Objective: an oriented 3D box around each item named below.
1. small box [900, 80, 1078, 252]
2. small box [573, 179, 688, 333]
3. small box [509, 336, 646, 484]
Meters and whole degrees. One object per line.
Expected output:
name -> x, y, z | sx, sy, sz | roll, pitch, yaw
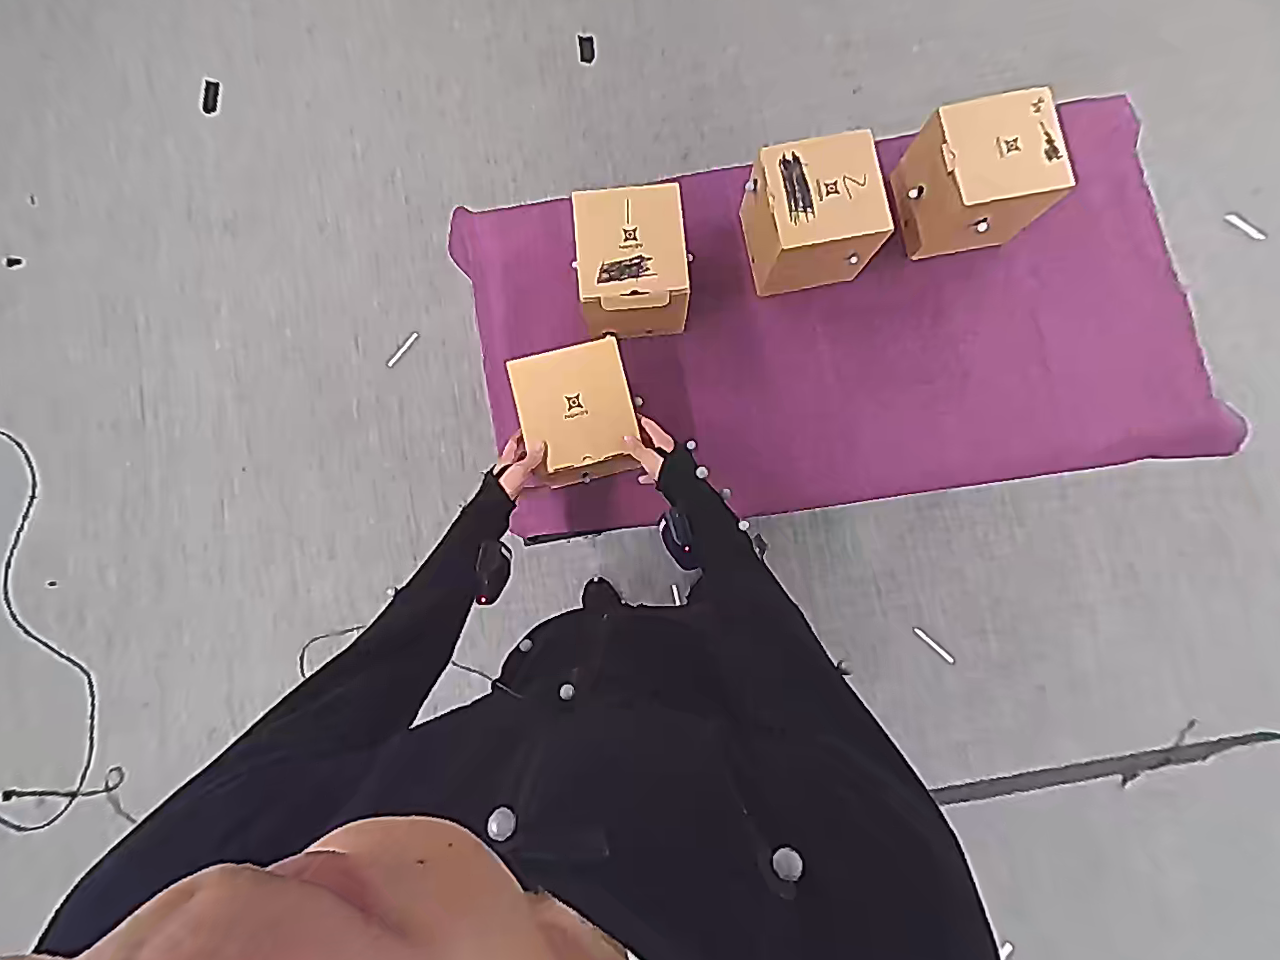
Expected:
small box -> 0.549, -0.497, 0.881 | 0.179, 0.176, 0.168 | -10, 86, 1
small box -> -0.012, -0.349, 0.879 | 0.168, 0.176, 0.179 | -5, 84, 0
small box -> -0.093, -0.100, 0.852 | 0.168, 0.176, 0.179 | -15, 85, -2
